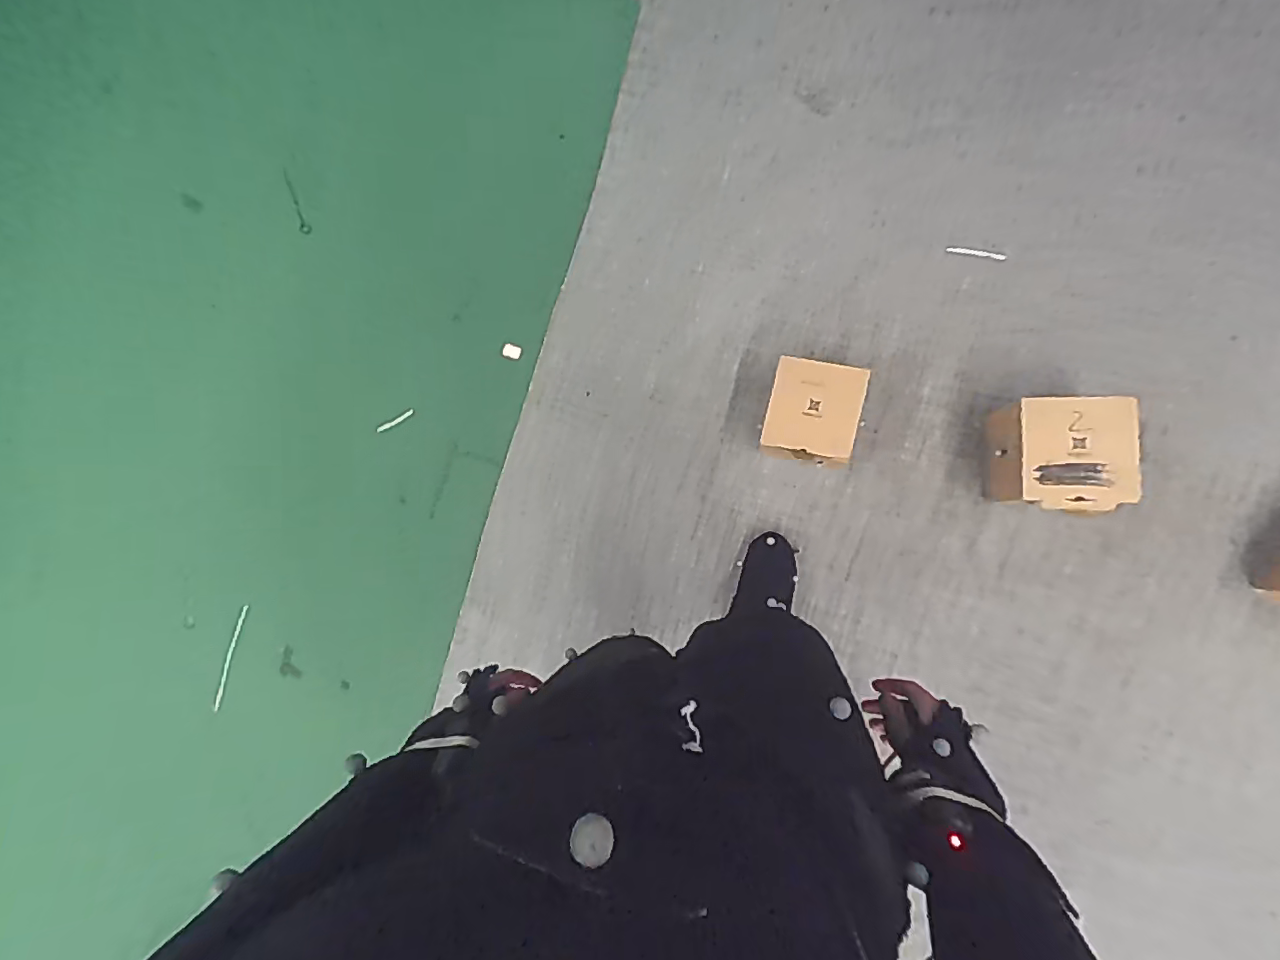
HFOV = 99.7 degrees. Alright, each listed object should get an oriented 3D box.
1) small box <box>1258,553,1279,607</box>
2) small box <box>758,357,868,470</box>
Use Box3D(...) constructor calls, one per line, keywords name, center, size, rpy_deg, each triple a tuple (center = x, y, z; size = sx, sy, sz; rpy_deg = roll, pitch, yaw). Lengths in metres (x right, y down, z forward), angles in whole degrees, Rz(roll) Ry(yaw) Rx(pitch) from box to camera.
Box3D(name="small box", center=(1.155, 0.160, 0.839), size=(0.168, 0.176, 0.179), rpy_deg=(36, 96, 14))
Box3D(name="small box", center=(0.337, -0.124, 1.074), size=(0.168, 0.176, 0.179), rpy_deg=(13, 89, 14))
